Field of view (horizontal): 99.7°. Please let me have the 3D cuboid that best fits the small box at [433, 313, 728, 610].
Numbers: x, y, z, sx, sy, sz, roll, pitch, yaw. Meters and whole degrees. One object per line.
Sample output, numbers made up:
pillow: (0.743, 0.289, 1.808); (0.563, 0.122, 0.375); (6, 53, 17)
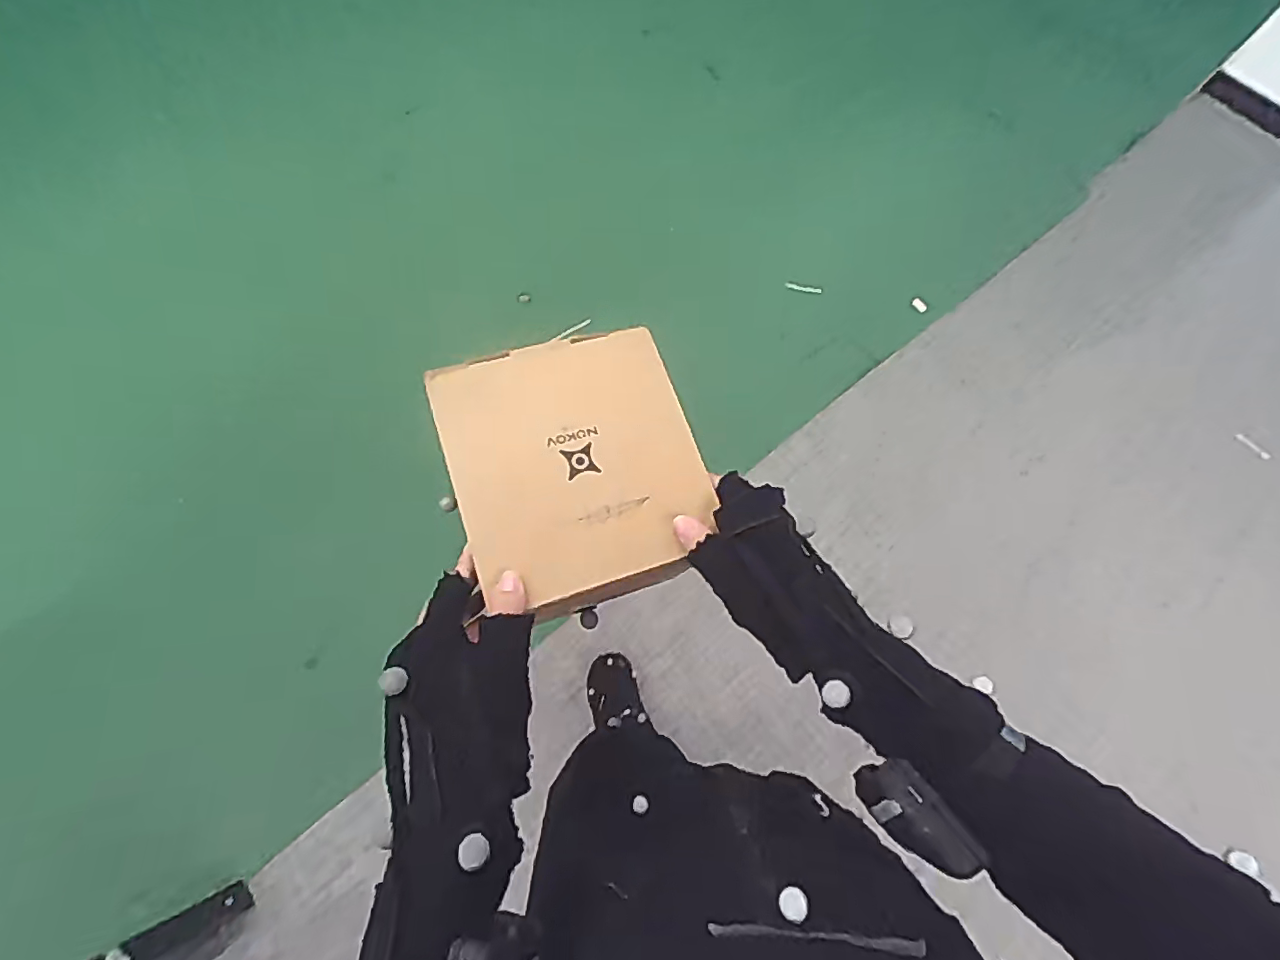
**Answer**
small box: (-0.056, -0.005, 0.446); (0.168, 0.176, 0.179); (-17, 77, -15)
